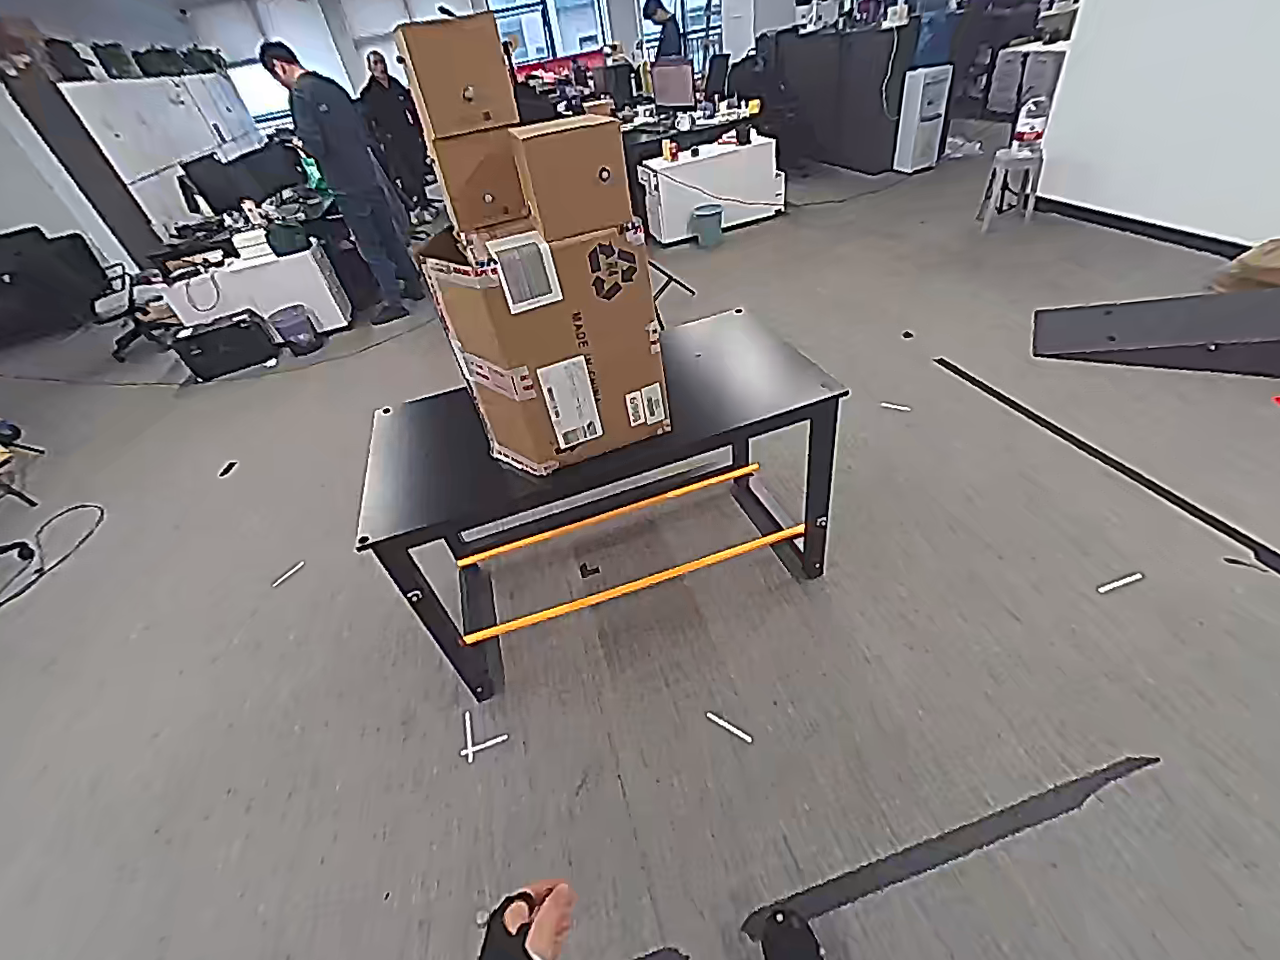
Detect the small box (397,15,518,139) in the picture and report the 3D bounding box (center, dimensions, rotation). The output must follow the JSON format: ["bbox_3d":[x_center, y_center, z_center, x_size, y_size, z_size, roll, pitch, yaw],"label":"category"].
[{"bbox_3d":[-0.351,-0.770,1.046,0.168,0.176,0.179,-22,39,-14],"label":"small box"}]

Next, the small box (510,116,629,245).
[{"bbox_3d":[-0.128,-0.565,1.019,0.179,0.176,0.168,-19,40,-9],"label":"small box"}]

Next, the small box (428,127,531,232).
[{"bbox_3d":[-0.337,-0.643,1.152,0.168,0.176,0.179,-20,40,-13],"label":"small box"}]
